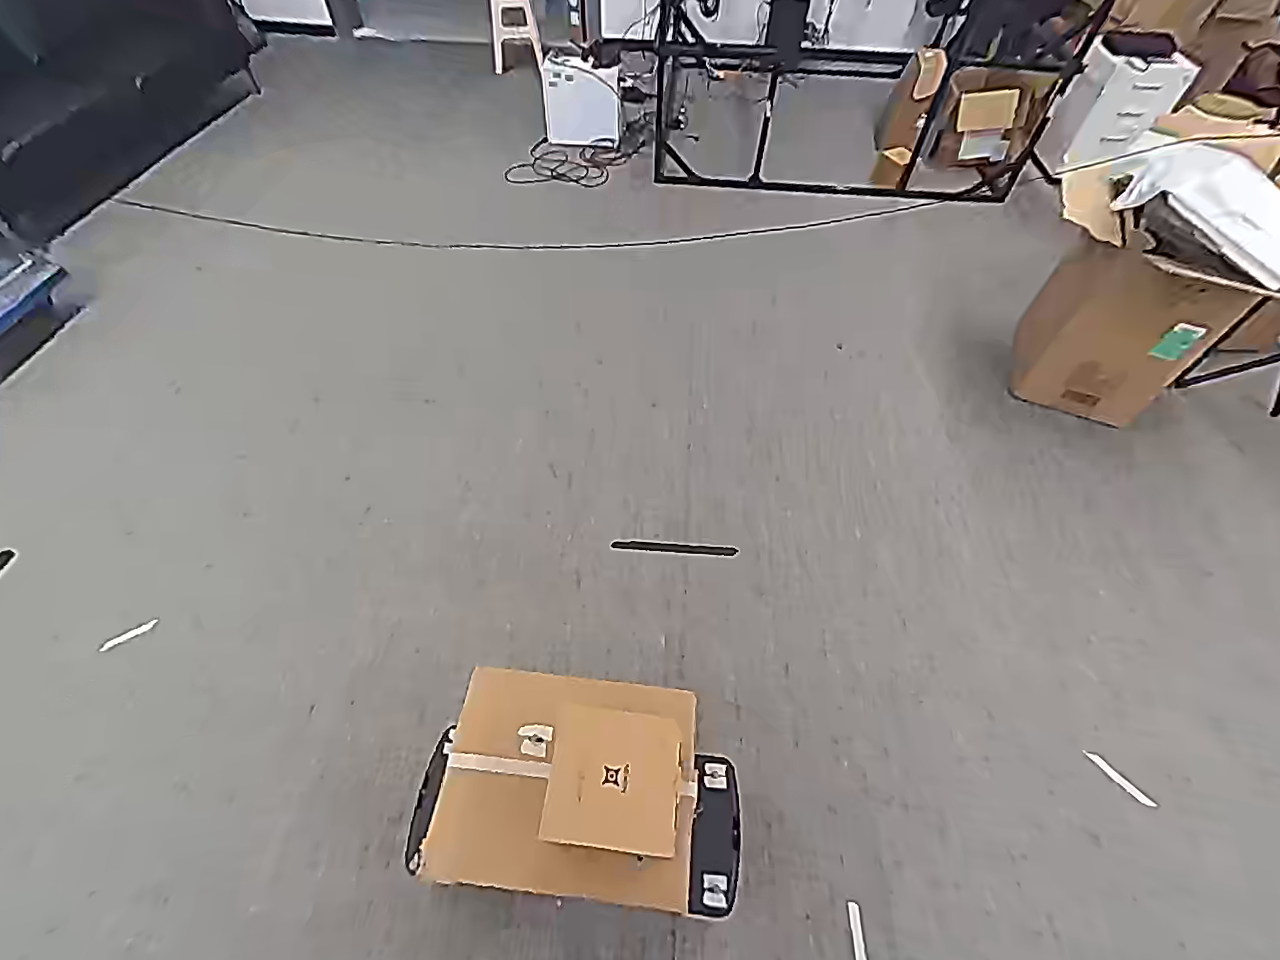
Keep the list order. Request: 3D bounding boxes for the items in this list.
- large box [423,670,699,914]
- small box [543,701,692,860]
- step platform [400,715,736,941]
[{"bbox_3d":[-0.105,0.566,0.985,0.408,0.320,0.320,5,52,4],"label":"large box"},{"bbox_3d":[-0.025,0.435,0.777,0.179,0.176,0.168,6,53,4],"label":"small box"},{"bbox_3d":[-0.140,0.728,1.160,0.684,0.204,0.286,9,53,7],"label":"step platform"}]
